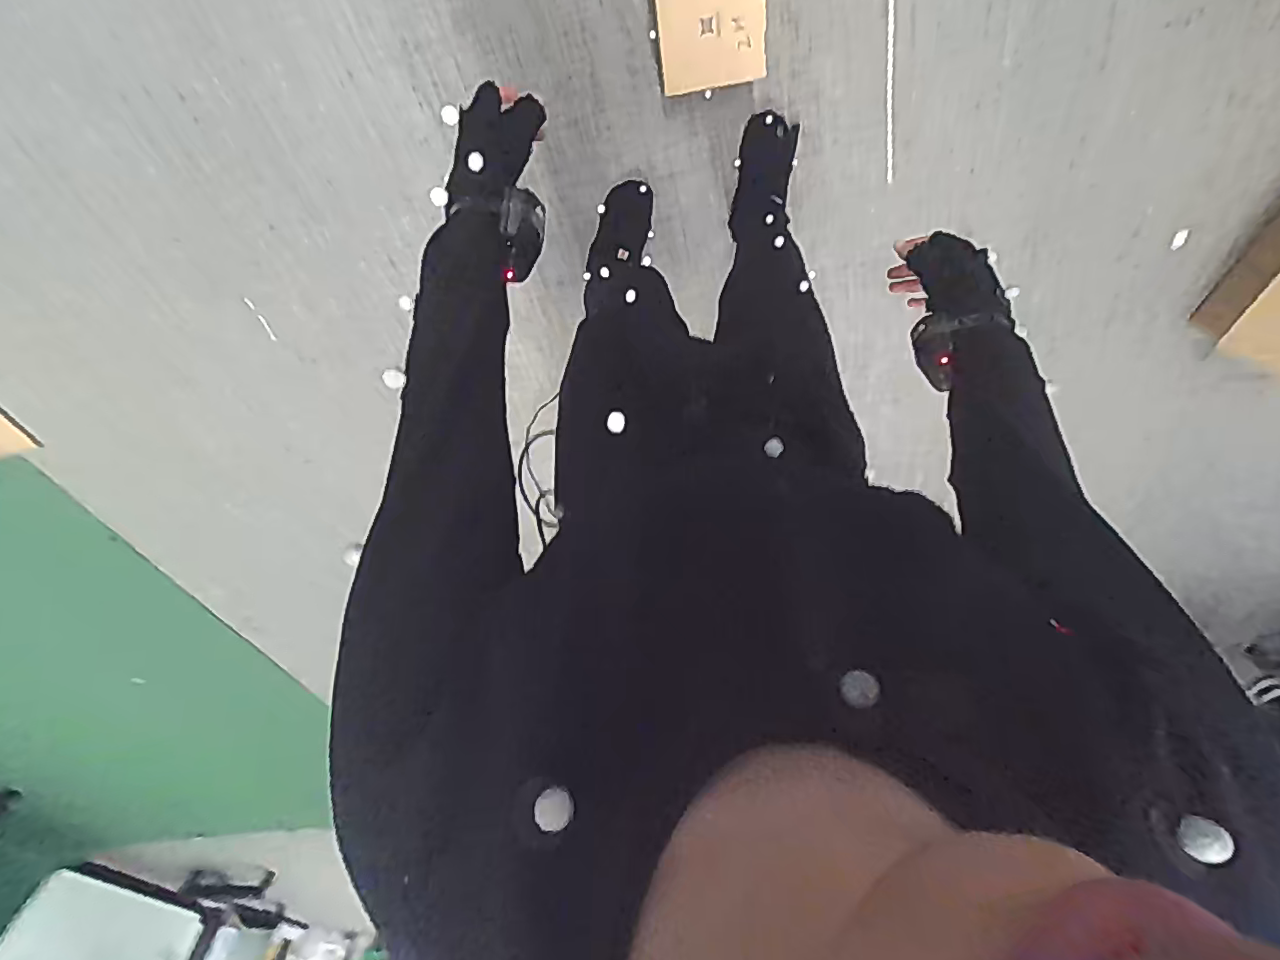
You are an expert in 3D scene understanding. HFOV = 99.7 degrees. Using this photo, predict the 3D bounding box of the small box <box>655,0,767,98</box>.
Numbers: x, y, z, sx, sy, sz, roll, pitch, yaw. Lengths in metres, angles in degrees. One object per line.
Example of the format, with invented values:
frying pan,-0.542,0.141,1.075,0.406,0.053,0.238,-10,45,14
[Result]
small box,0.121,-0.780,0.940,0.179,0.176,0.168,-6,128,6
